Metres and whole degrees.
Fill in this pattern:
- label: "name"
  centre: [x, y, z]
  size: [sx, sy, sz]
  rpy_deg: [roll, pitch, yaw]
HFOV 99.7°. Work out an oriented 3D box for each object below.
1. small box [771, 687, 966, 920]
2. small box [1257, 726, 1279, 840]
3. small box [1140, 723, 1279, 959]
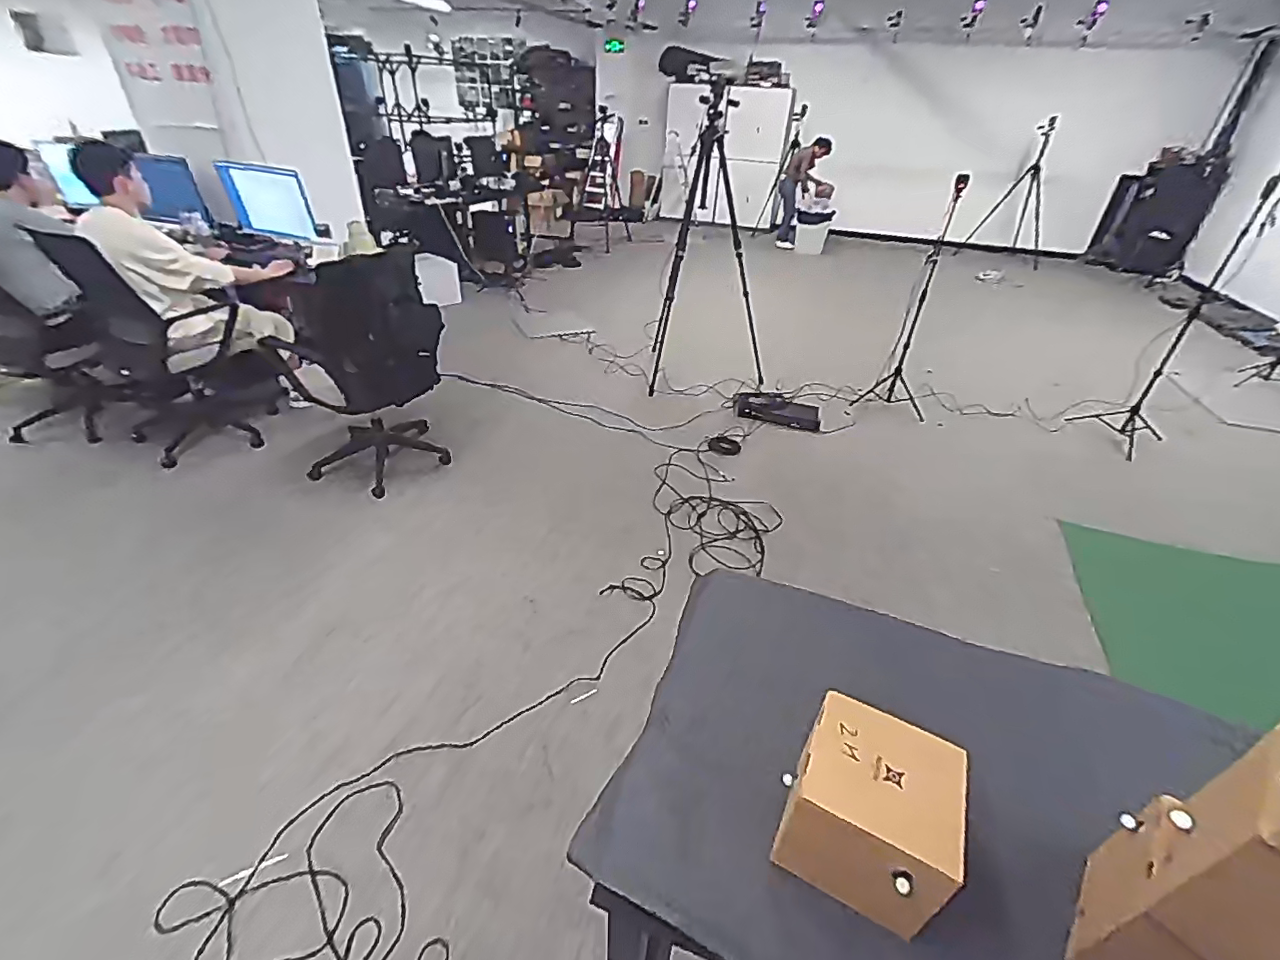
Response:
- label: "small box"
  centre: [0.287, 0.412, 0.690]
  size: [0.179, 0.176, 0.168]
  rpy_deg: [19, 37, 22]
- label: "small box"
  centre: [0.622, 0.235, 0.393]
  size: [0.168, 0.176, 0.179]
  rpy_deg: [-23, 43, -34]
- label: "small box"
  centre: [0.617, 0.370, 0.484]
  size: [0.168, 0.176, 0.179]
  rpy_deg: [-21, 41, -32]
